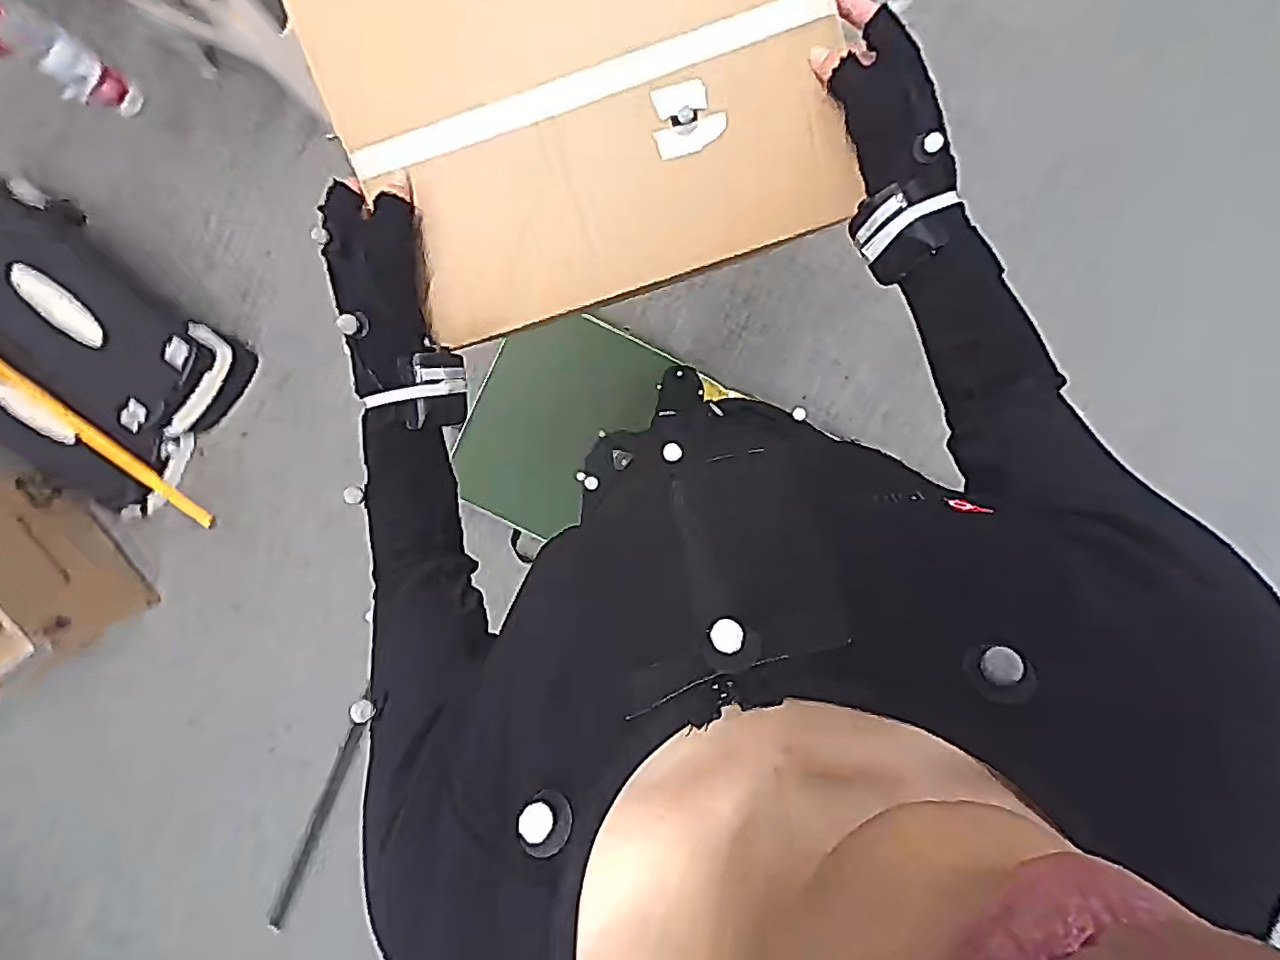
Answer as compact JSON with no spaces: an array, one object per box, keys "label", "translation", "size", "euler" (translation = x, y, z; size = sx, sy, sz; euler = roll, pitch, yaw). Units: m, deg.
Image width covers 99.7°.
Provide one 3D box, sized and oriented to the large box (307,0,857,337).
[{"label":"large box","translation":[-0.047,-0.369,0.591],"size":[0.408,0.320,0.320],"euler":[-18,107,1]}]
